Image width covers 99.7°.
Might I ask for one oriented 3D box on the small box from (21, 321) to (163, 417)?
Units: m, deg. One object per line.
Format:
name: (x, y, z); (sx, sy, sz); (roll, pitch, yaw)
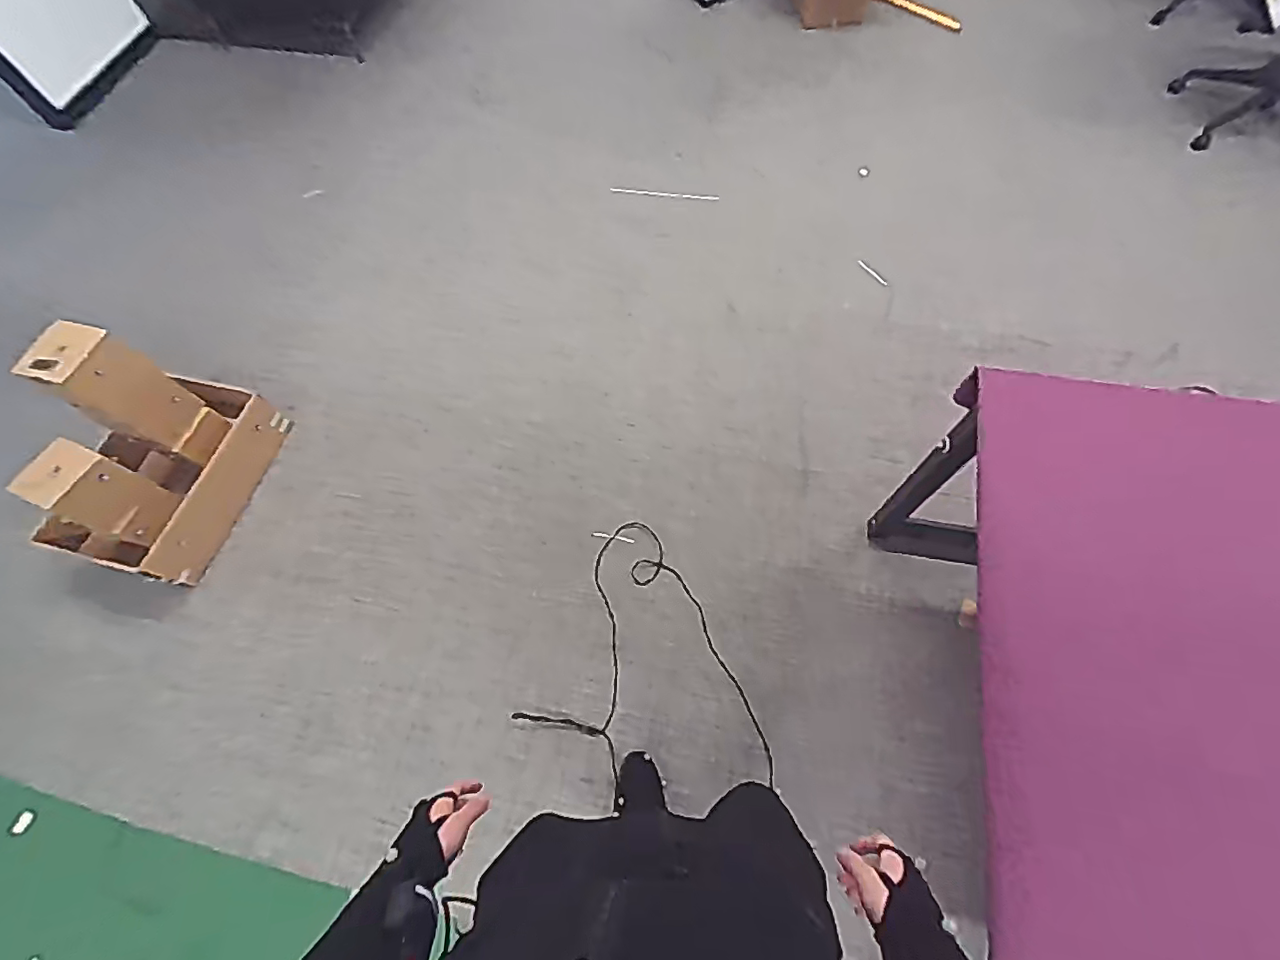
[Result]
small box: (-1.454, -0.292, 1.450); (0.168, 0.176, 0.179); (13, 66, 9)
